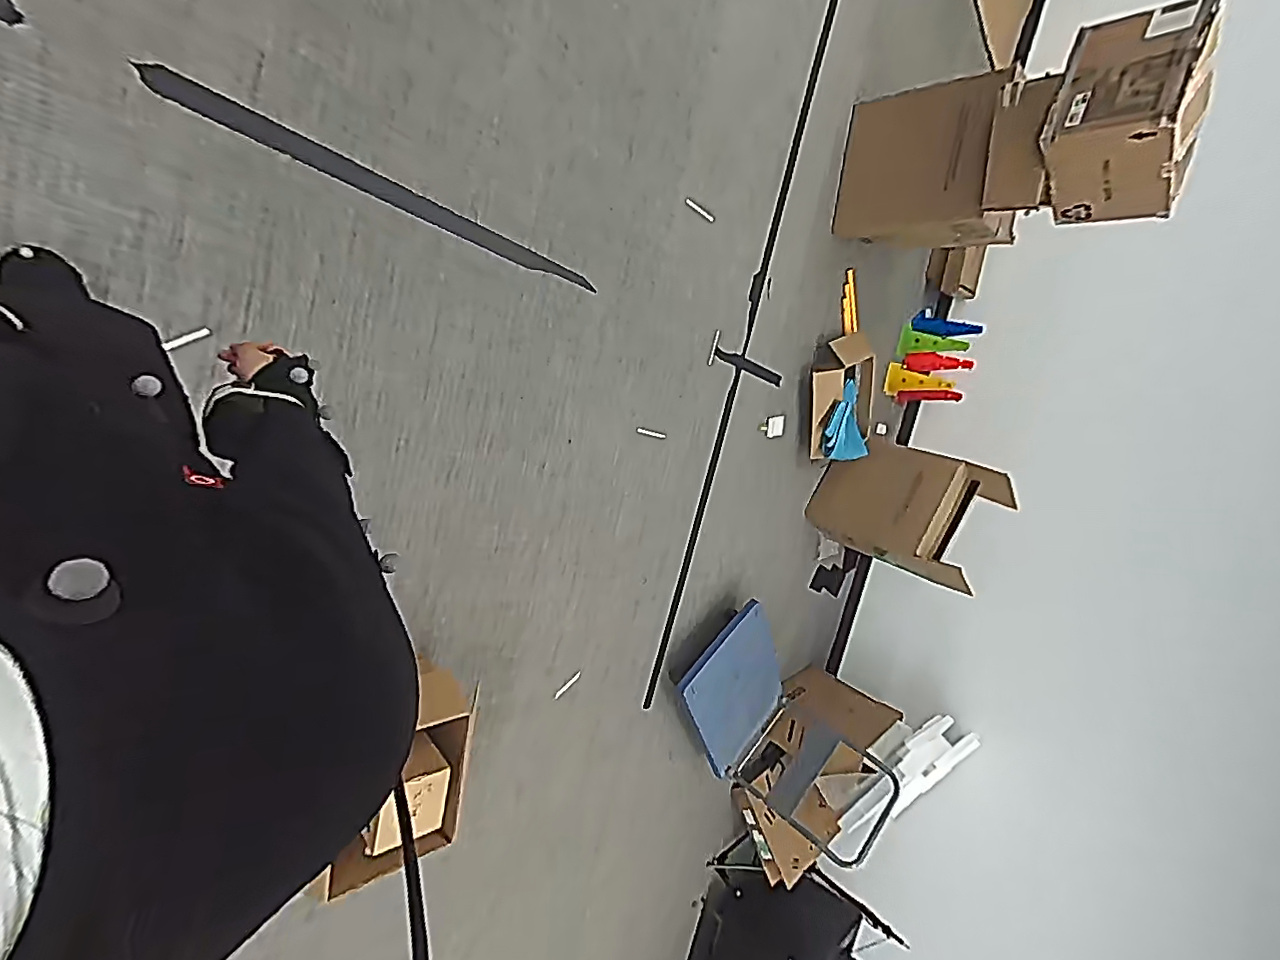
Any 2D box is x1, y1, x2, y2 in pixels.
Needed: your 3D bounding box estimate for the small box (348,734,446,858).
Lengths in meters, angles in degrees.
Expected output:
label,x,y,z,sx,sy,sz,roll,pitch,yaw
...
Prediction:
label,x,y,z,sx,sy,sz,roll,pitch,yaw
small box,-0.610,0.777,1.349,0.168,0.176,0.179,4,101,-46
